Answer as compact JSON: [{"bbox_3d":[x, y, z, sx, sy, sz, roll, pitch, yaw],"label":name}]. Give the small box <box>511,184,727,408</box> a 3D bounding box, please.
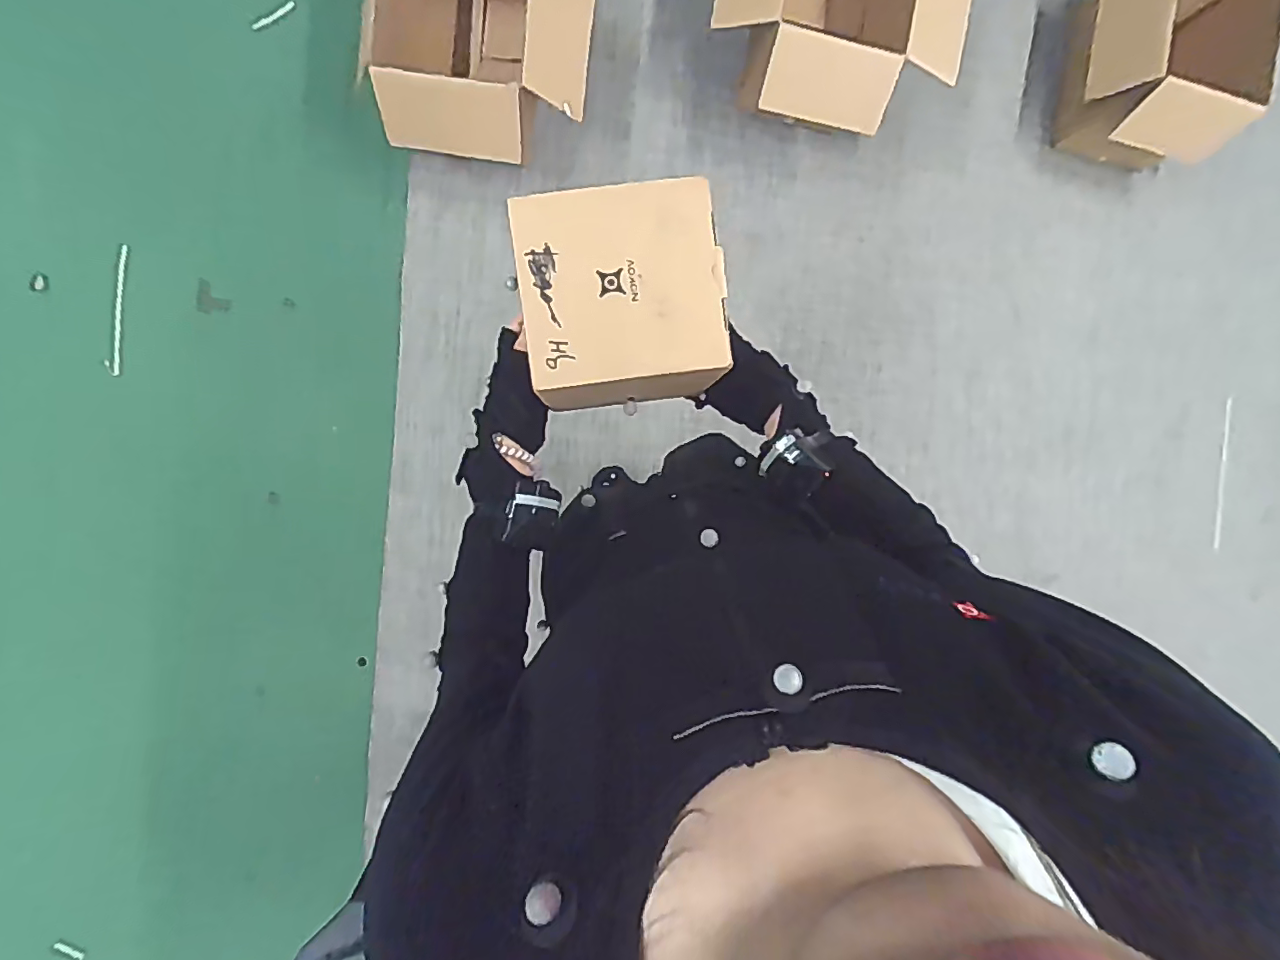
[{"bbox_3d":[-0.024,-0.170,0.546,0.179,0.176,0.168,-7,90,-4],"label":"small box"}]
